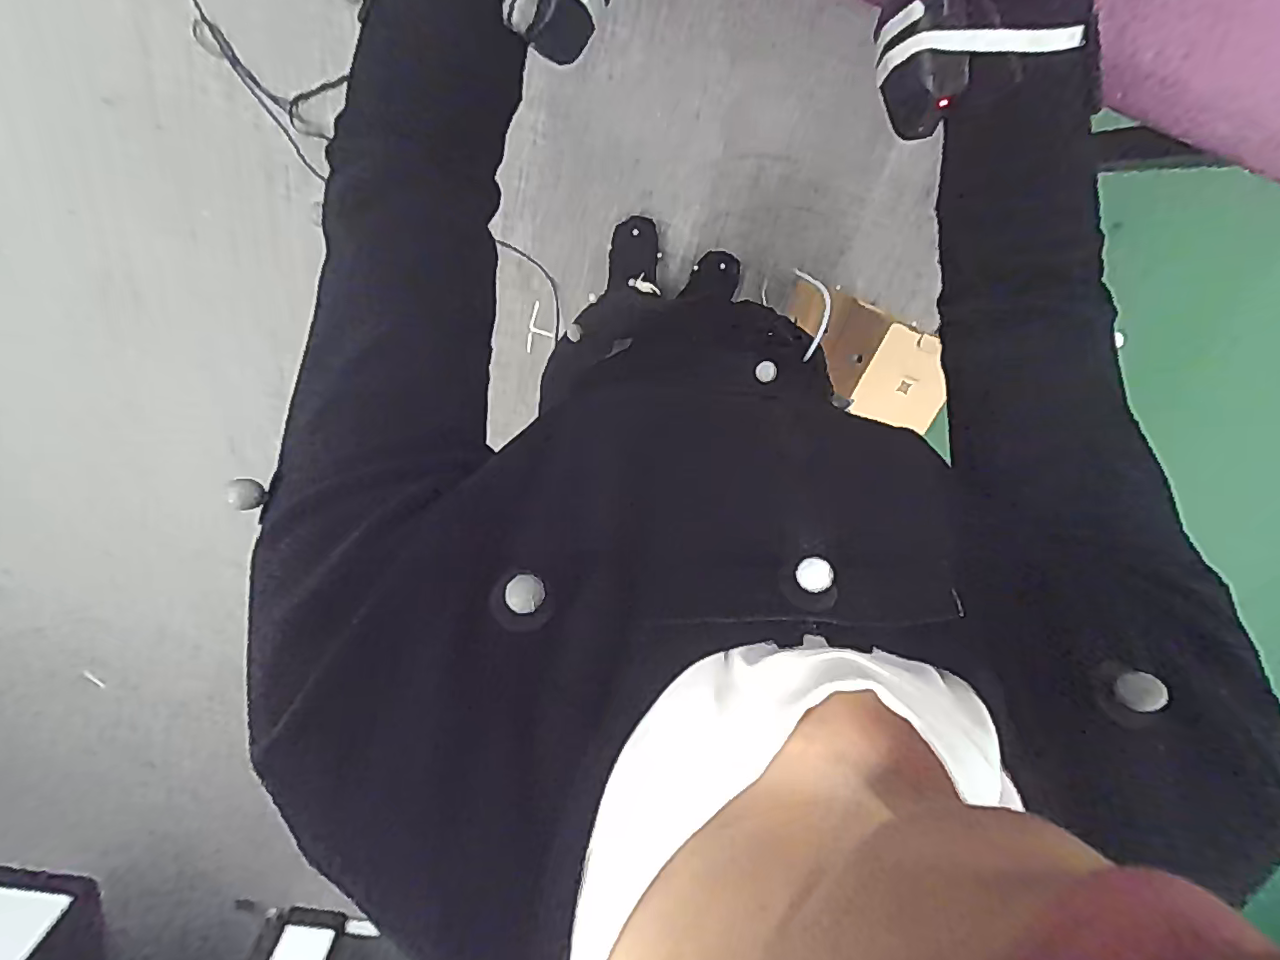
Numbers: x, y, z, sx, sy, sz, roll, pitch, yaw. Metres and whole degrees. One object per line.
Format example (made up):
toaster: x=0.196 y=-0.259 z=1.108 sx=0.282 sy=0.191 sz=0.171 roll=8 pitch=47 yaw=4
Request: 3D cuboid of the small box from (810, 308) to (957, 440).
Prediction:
small box: x=0.448 y=-0.207 z=1.032 sx=0.168 sy=0.176 sz=0.179 roll=18 pitch=115 yaw=-10

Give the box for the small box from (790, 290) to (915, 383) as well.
small box: x=0.444 y=-0.290 z=1.171 sx=0.168 sy=0.176 sz=0.179 roll=19 pitch=115 yaw=-11
